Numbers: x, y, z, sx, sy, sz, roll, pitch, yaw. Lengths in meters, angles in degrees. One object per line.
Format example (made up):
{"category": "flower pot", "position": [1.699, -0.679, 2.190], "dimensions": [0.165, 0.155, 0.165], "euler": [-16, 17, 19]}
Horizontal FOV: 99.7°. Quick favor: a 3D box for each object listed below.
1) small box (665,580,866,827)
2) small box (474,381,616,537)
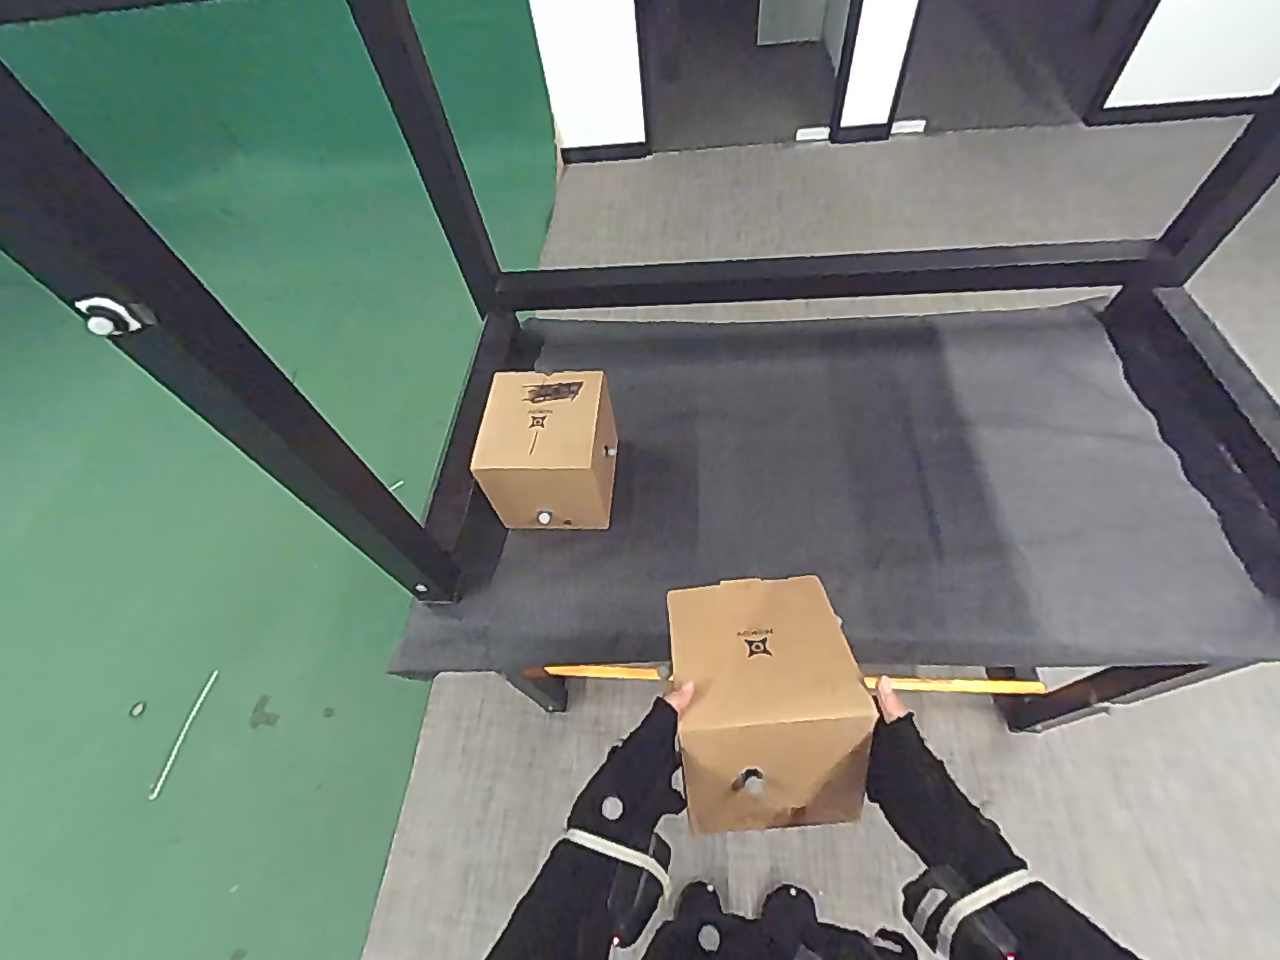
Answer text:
{"category": "small box", "position": [0.119, 0.231, 0.561], "dimensions": [0.168, 0.176, 0.179], "euler": [-6, 28, 3]}
{"category": "small box", "position": [-0.130, -0.031, 0.825], "dimensions": [0.168, 0.176, 0.179], "euler": [0, 56, 6]}
